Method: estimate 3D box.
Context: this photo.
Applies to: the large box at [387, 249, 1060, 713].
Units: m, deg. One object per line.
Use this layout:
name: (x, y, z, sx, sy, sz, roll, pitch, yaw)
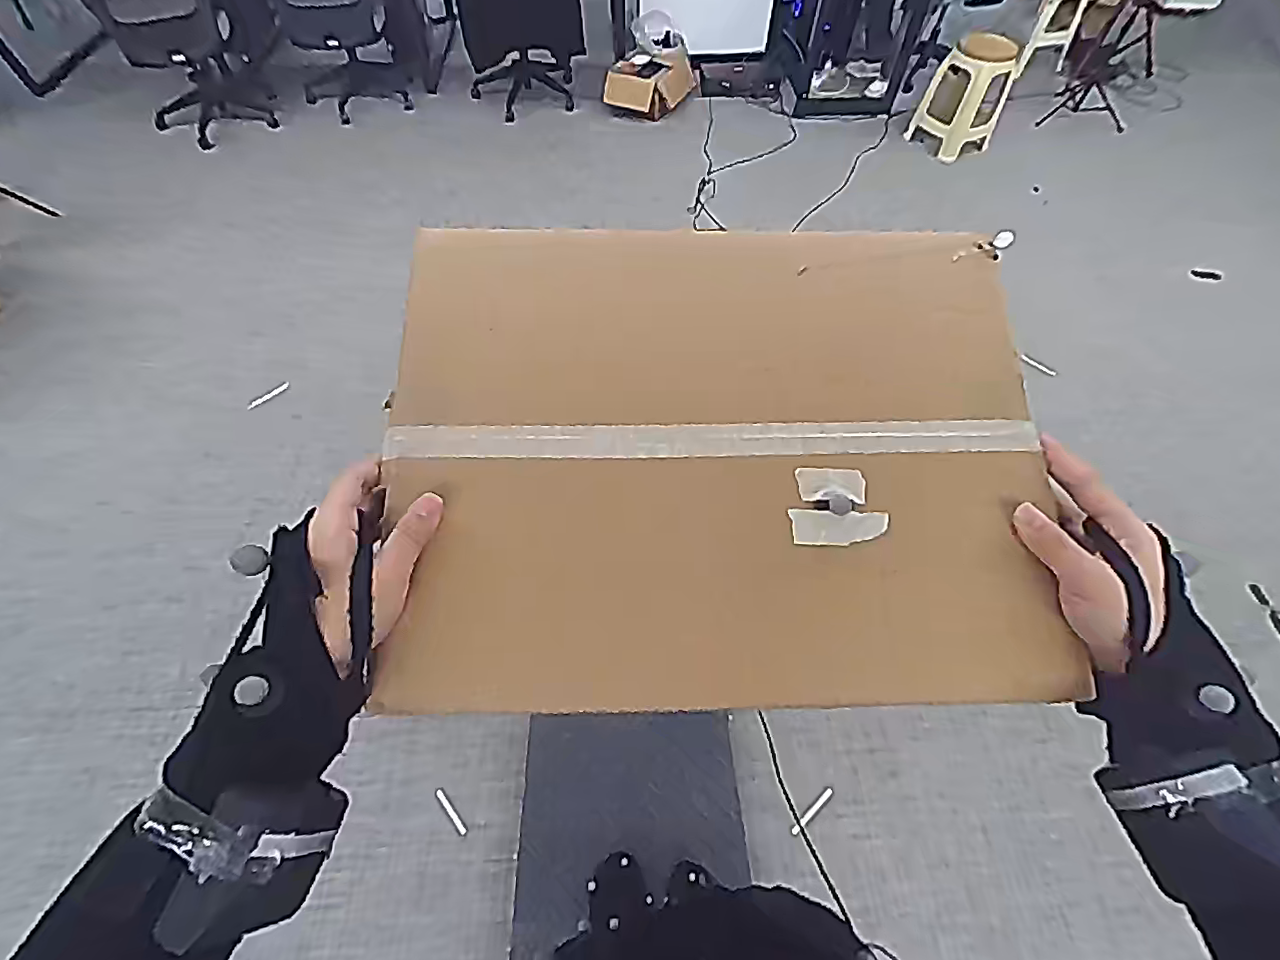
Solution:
large box: (0.042, 0.020, 0.496, 0.408, 0.320, 0.320, -1, 75, -2)
